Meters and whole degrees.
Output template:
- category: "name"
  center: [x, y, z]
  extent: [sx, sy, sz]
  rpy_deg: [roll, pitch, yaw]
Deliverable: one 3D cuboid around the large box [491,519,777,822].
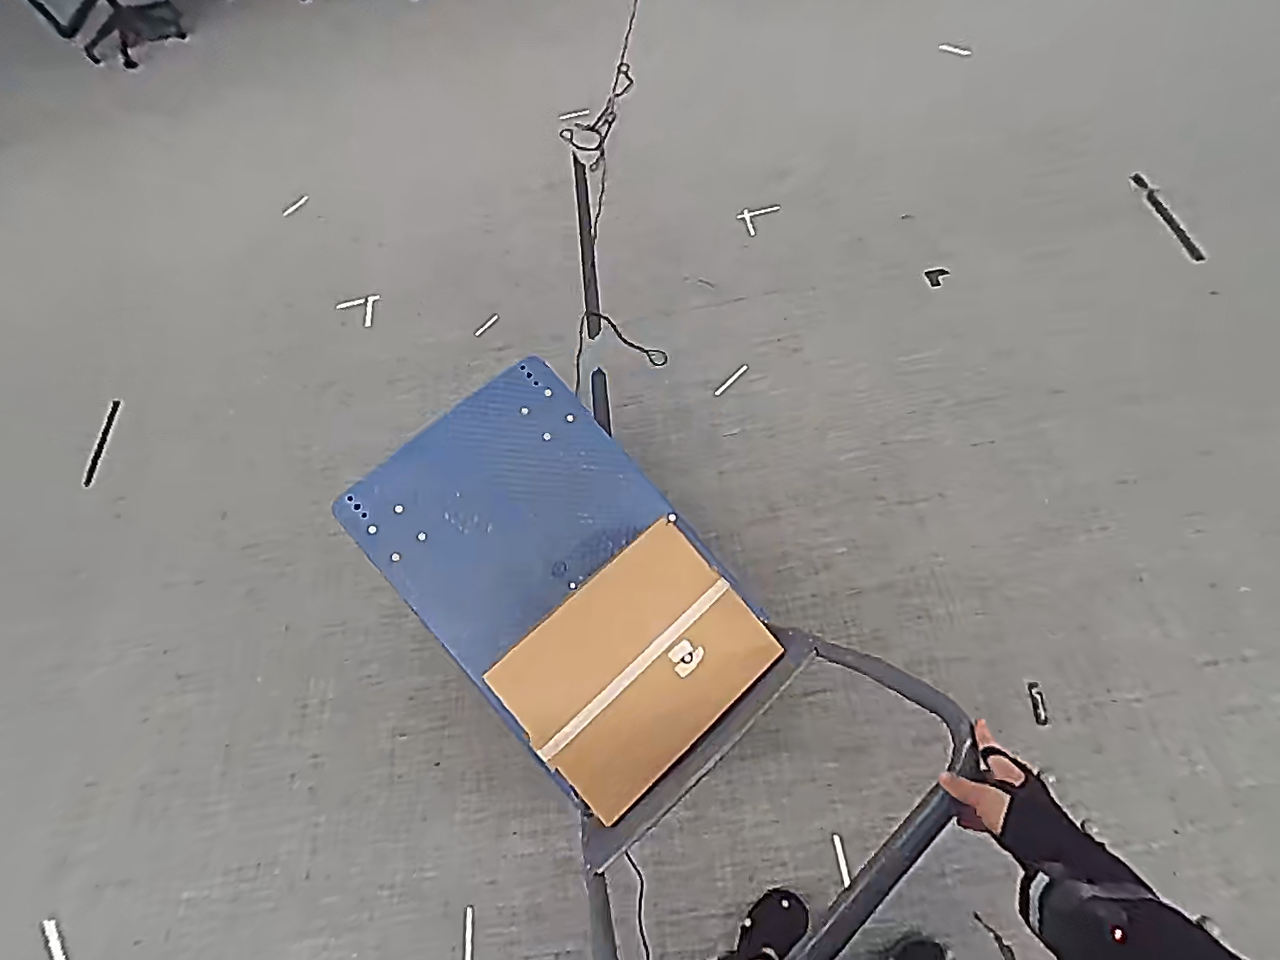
- category: "large box"
  center: [-0.021, 0.337, 1.054]
  extent: [0.408, 0.320, 0.320]
  rpy_deg: [-42, 88, -13]
